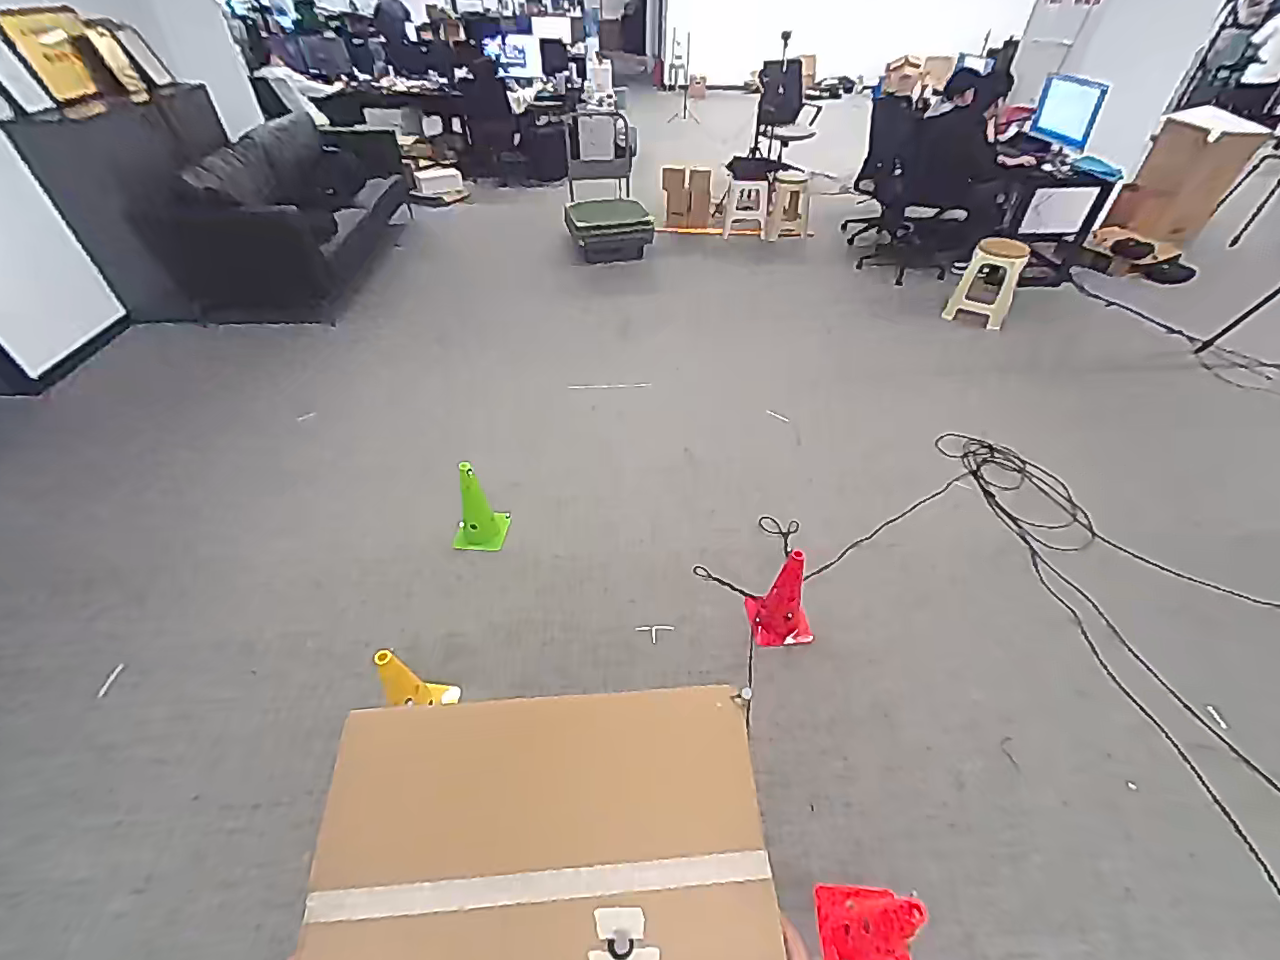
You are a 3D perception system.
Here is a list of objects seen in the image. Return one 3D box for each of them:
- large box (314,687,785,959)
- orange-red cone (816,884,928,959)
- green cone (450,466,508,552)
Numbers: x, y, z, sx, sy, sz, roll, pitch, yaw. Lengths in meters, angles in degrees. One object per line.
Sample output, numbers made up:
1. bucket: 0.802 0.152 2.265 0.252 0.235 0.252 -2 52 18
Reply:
1. large box: -0.086 0.446 0.610 0.408 0.320 0.320 -3 57 -5
2. orange-red cone: 0.524 0.949 1.144 0.199 0.360 0.198 5 44 2
3. green cone: -0.649 0.086 2.065 0.200 0.368 0.202 2 44 2
